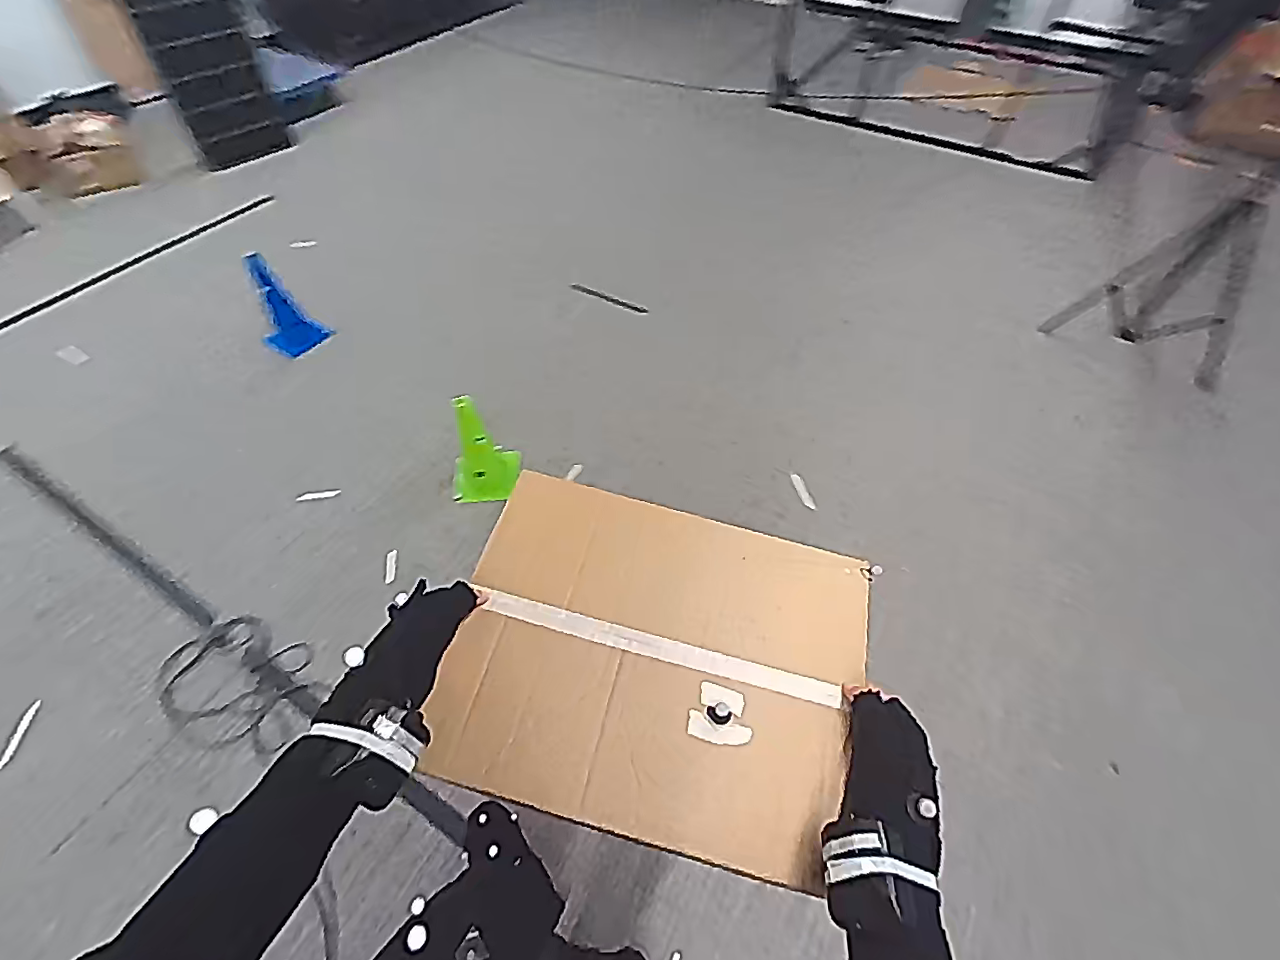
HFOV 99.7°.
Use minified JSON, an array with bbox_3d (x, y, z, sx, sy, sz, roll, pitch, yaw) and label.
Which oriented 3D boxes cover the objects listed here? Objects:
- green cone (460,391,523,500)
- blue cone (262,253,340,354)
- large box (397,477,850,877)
[{"bbox_3d":[-0.491,-0.125,1.676,0.200,0.368,0.202,-4,52,-5],"label":"green cone"},{"bbox_3d":[-1.367,-0.698,2.106,0.193,0.380,0.192,30,57,19],"label":"blue cone"},{"bbox_3d":[-0.004,0.243,0.663,0.408,0.320,0.320,14,58,3],"label":"large box"}]
